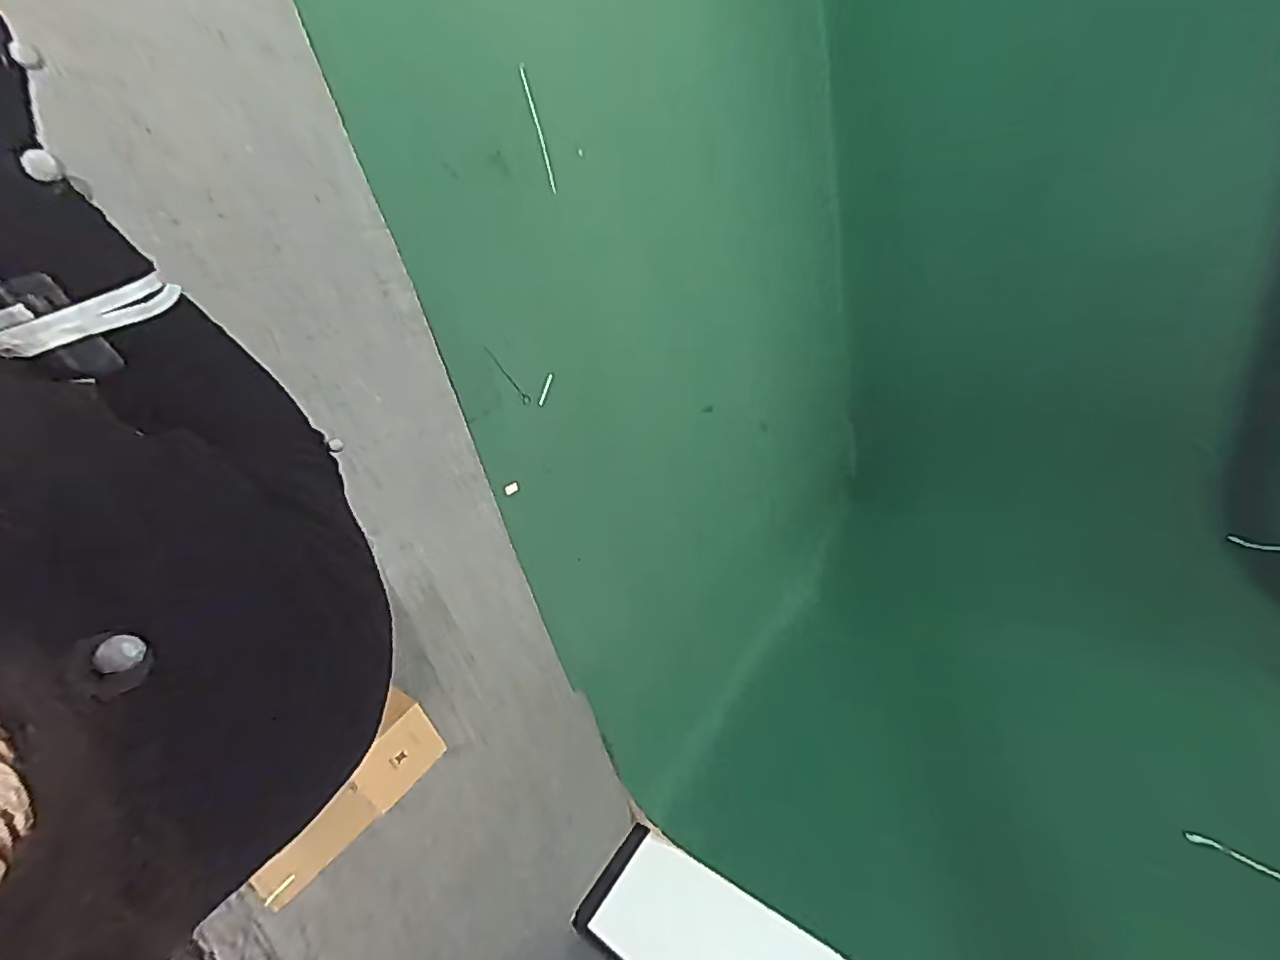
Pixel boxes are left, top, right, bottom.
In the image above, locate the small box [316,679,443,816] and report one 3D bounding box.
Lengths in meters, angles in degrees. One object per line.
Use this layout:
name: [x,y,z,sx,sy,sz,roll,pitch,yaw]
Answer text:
small box: [-0.579,0.580,1.193,0.179,0.176,0.168,-41,128,-39]
